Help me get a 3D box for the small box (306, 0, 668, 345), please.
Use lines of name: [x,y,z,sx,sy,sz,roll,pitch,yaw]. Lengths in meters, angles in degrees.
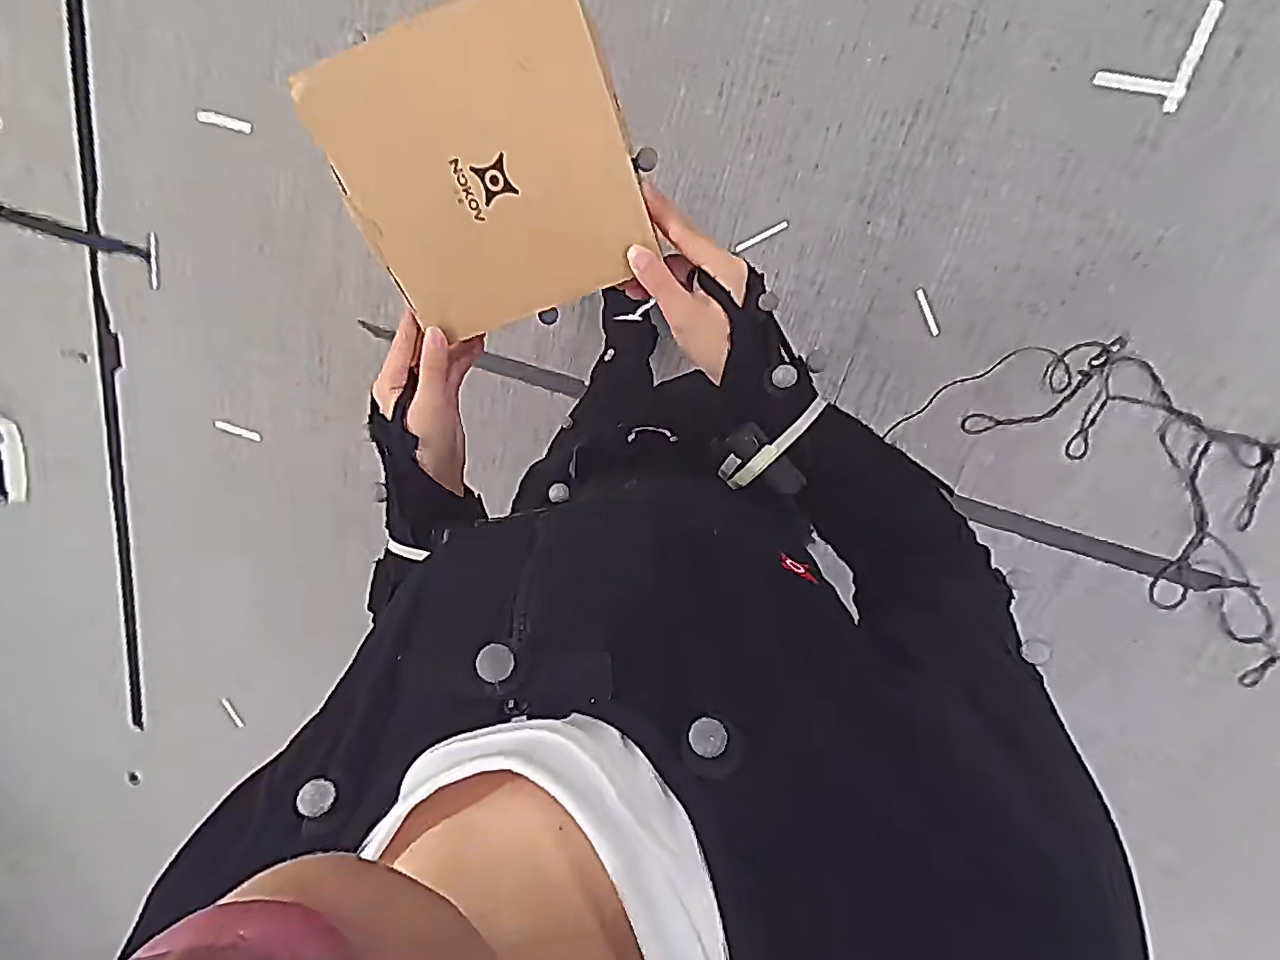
small box: [-0.086,-0.226,0.402,0.179,0.176,0.168,-15,120,11]
